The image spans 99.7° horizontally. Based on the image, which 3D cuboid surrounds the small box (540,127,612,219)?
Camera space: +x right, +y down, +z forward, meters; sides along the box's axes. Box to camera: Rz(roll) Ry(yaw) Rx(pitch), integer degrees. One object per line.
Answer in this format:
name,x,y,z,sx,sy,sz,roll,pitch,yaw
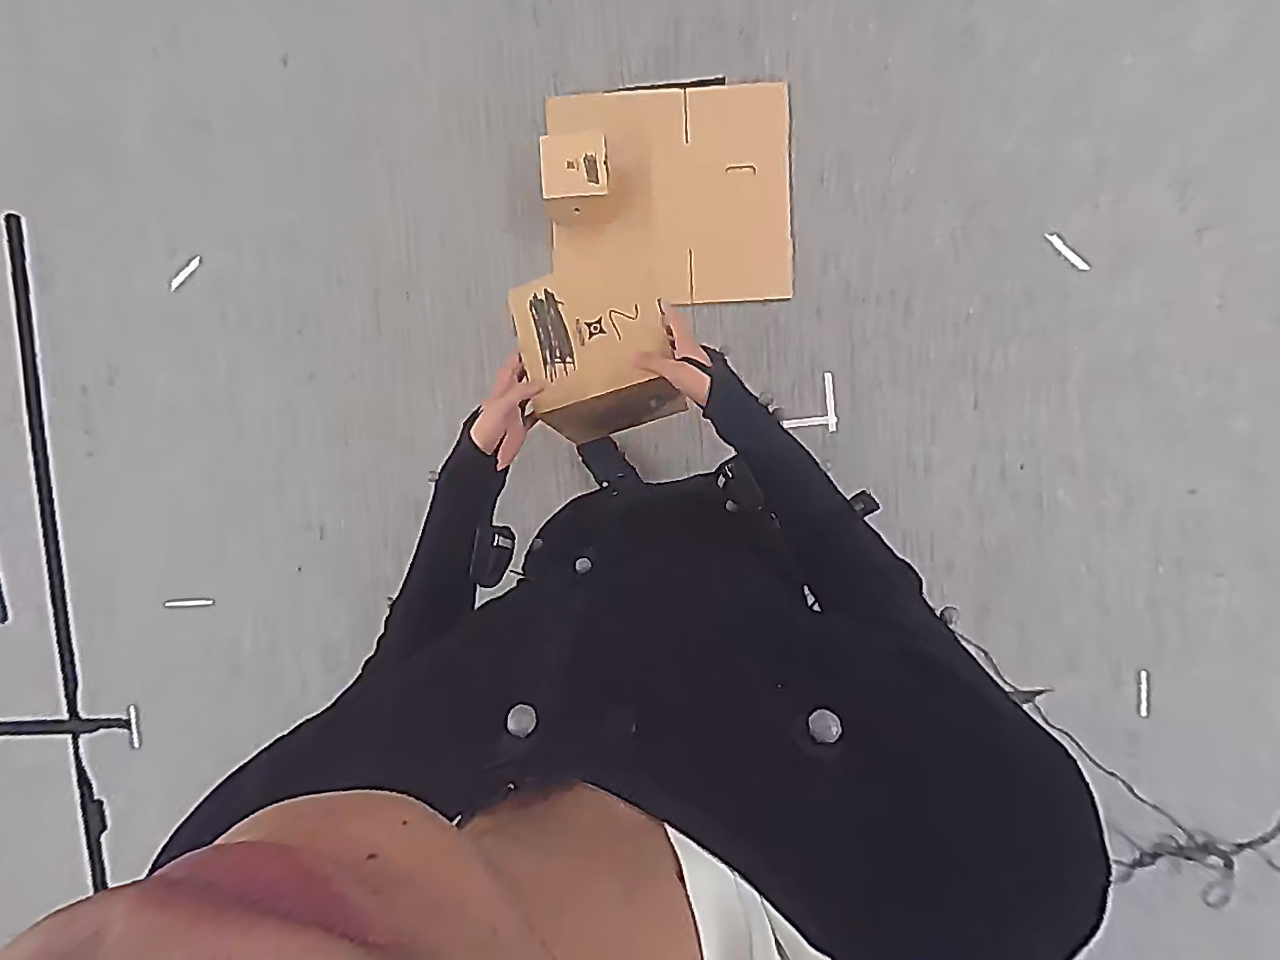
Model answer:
small box,-0.170,-0.837,1.488,0.179,0.176,0.168,-2,94,3
